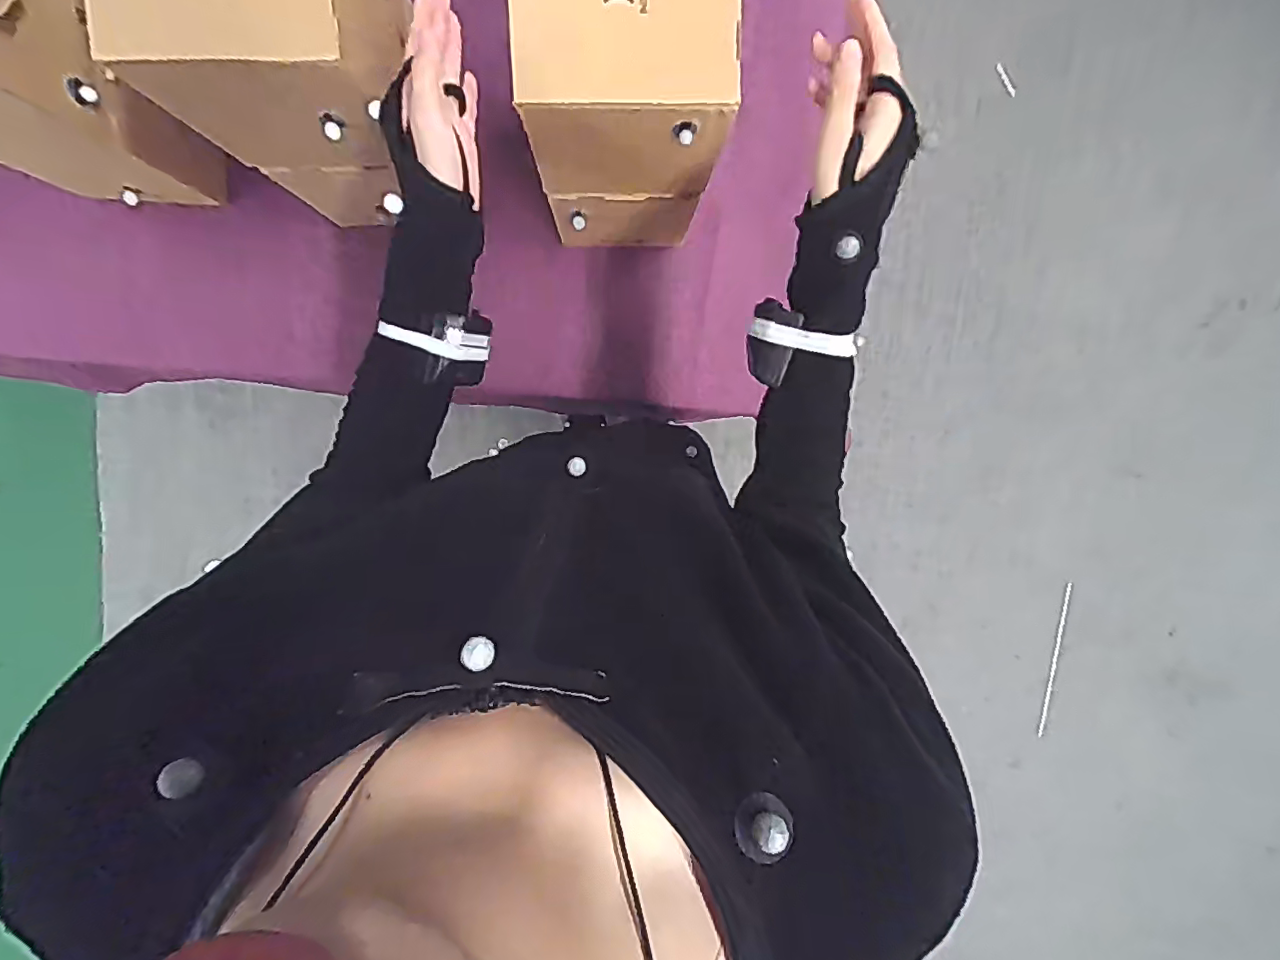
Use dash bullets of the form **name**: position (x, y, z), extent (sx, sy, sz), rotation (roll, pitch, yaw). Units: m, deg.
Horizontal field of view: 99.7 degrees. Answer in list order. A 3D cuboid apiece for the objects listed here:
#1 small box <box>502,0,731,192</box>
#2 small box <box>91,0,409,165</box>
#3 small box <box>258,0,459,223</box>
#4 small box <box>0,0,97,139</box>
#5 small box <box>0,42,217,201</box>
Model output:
- **small box**: position (-0.020, -0.376, 0.486), extent (0.179, 0.176, 0.168), rotation (-1, 98, -3)
- **small box**: position (-0.315, -0.396, 0.468), extent (0.179, 0.176, 0.168), rotation (-1, 97, -2)
- **small box**: position (-0.321, -0.420, 0.629), extent (0.168, 0.176, 0.179), rotation (-3, 98, -2)
- **small box**: position (-0.609, -0.411, 0.448), extent (0.179, 0.176, 0.168), rotation (3, 98, -3)
- **small box**: position (-0.618, -0.434, 0.611), extent (0.179, 0.176, 0.168), rotation (3, 98, -3)
